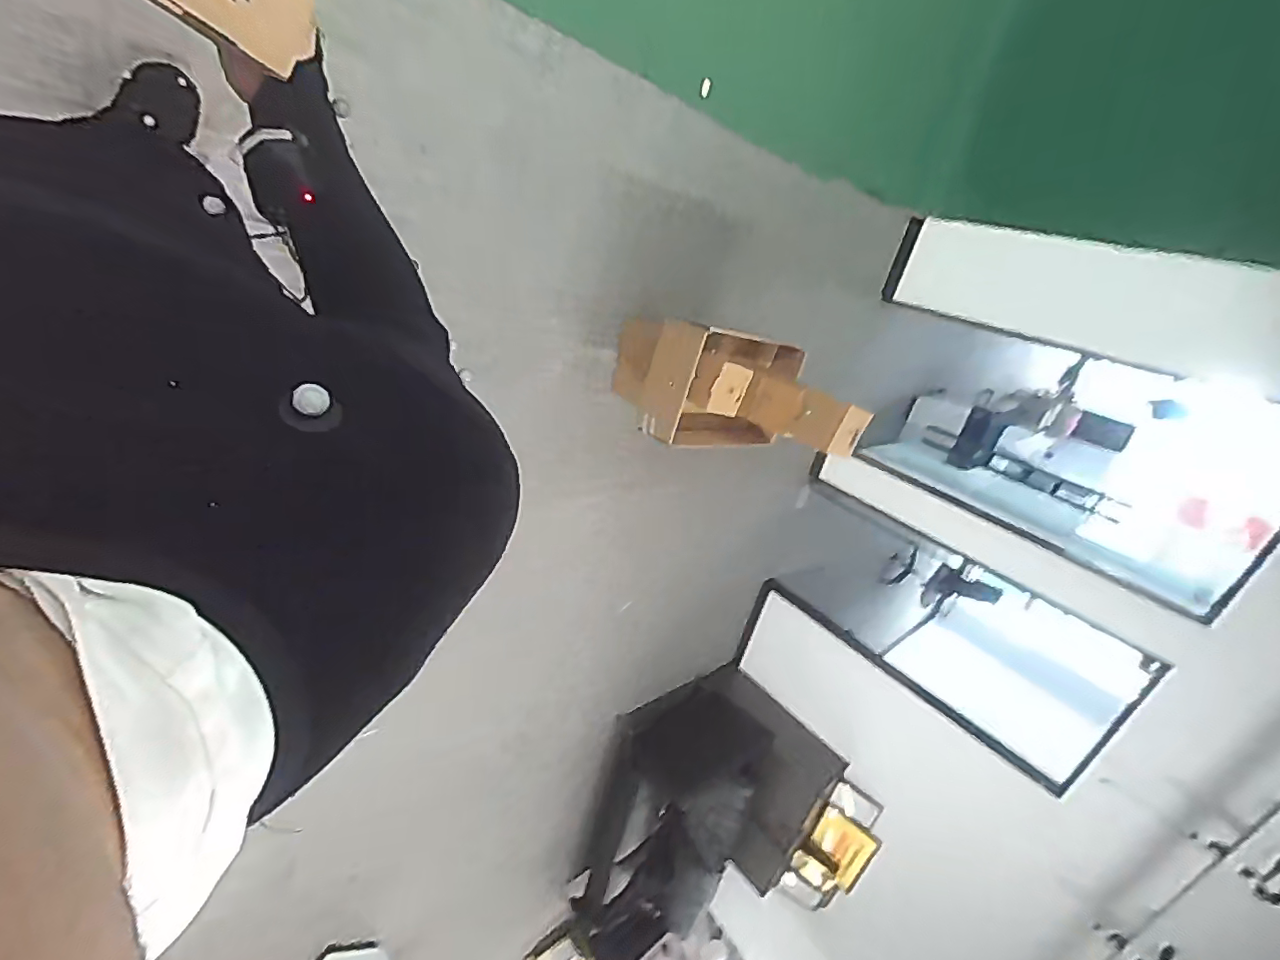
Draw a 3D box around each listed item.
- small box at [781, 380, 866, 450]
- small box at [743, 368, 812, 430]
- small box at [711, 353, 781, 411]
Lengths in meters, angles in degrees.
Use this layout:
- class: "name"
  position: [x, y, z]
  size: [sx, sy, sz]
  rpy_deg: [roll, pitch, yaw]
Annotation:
- class: "small box"
  position: [0.602, -0.214, 1.783]
  size: [0.179, 0.176, 0.168]
  rpy_deg: [7, 112, -46]
- class: "small box"
  position: [0.494, -0.285, 1.885]
  size: [0.179, 0.176, 0.168]
  rpy_deg: [-6, 121, -42]
- class: "small box"
  position: [0.393, -0.359, 1.988]
  size: [0.179, 0.176, 0.168]
  rpy_deg: [-5, 120, -43]
